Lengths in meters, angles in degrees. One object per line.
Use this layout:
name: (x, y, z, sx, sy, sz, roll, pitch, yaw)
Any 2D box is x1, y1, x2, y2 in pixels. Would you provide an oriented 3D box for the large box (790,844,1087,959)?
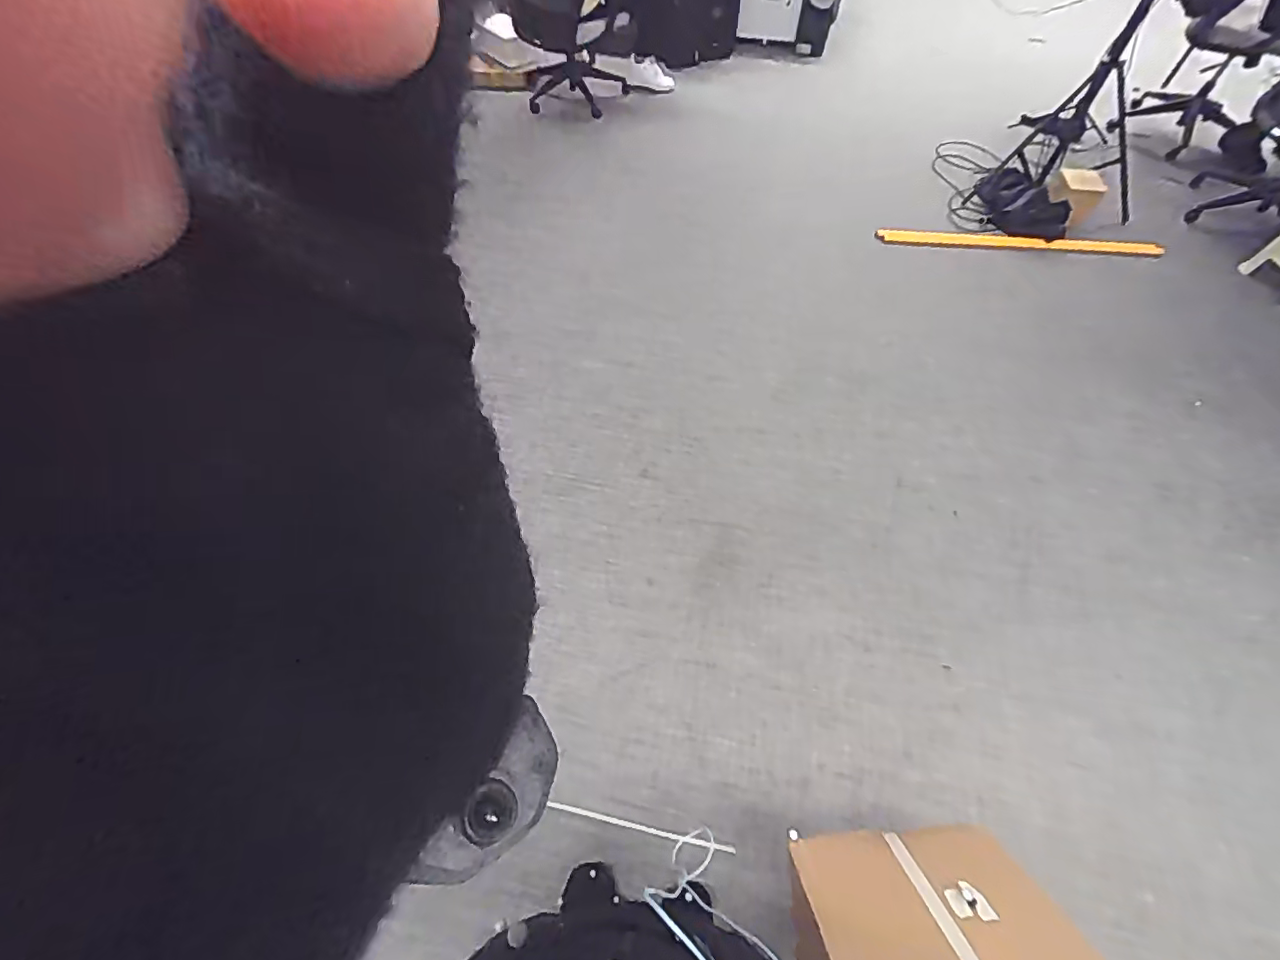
large box: (0.400, 0.738, 0.652, 0.320, 0.408, 0.320, -4, 92, 0)
